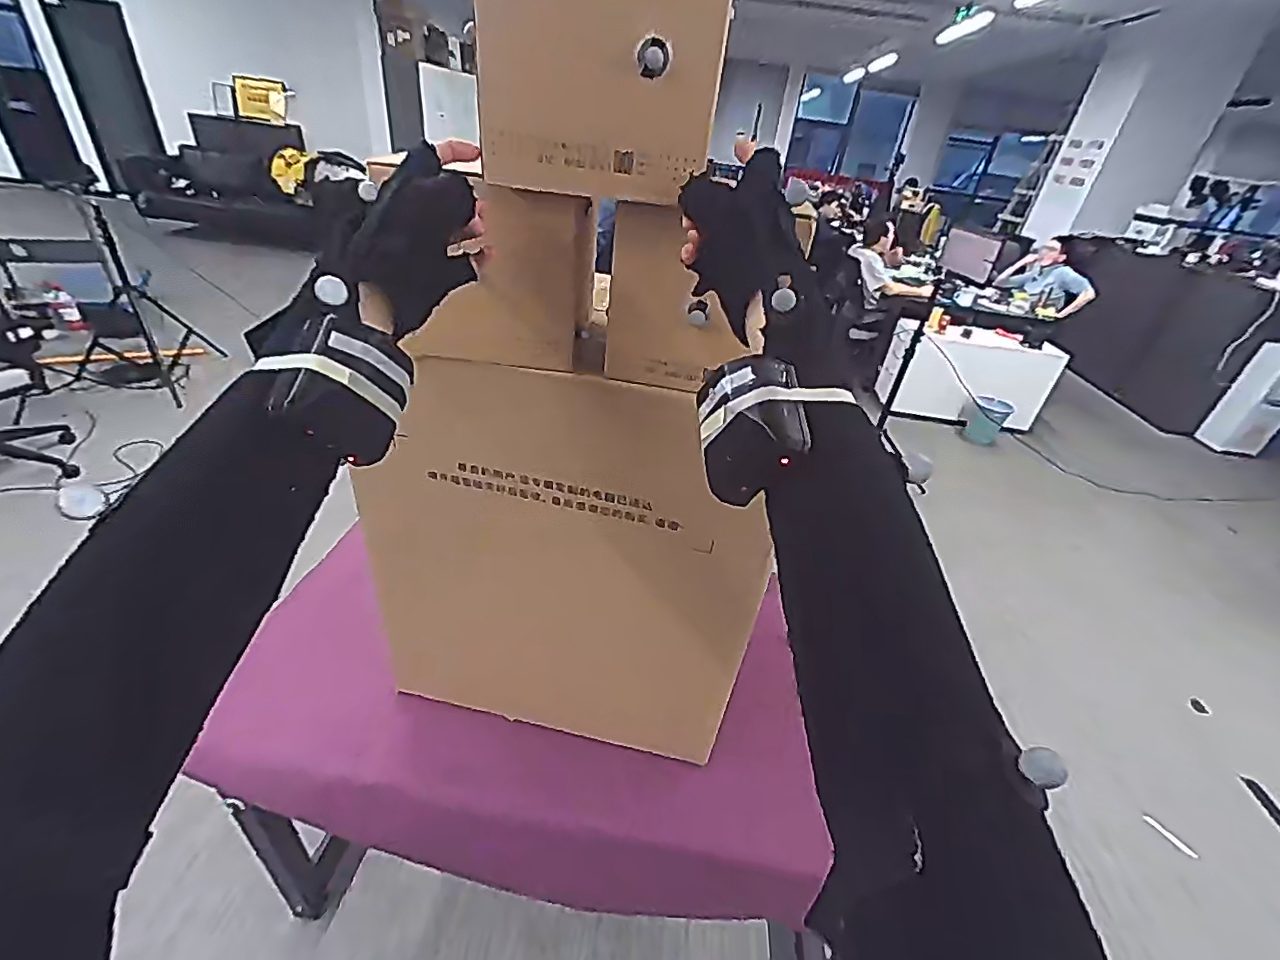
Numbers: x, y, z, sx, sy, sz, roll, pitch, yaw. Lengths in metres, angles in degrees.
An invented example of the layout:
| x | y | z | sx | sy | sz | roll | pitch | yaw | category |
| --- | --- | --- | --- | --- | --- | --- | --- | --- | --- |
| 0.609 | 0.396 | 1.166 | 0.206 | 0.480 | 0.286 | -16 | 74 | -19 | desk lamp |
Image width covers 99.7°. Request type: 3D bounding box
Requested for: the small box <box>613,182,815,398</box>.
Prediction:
| x | y | z | sx | sy | sz | roll | pitch | yaw | category |
| --- | --- | --- | --- | --- | --- | --- | --- | --- | --- |
| 0.068 | -0.201 | 0.557 | 0.168 | 0.176 | 0.179 | 10 | 35 | 3 | small box |

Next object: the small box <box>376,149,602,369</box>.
| x | y | z | sx | sy | sz | roll | pitch | yaw | category |
| --- | --- | --- | --- | --- | --- | --- | --- | --- | --- |
| -0.136 | -0.227 | 0.558 | 0.179 | 0.176 | 0.168 | 6 | 35 | -1 | small box |

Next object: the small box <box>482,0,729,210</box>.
| x | y | z | sx | sy | sz | roll | pitch | yaw | category |
| --- | --- | --- | --- | --- | --- | --- | --- | --- | --- |
| -0.027 | -0.328 | 0.437 | 0.168 | 0.176 | 0.179 | 4 | 34 | -6 | small box |
